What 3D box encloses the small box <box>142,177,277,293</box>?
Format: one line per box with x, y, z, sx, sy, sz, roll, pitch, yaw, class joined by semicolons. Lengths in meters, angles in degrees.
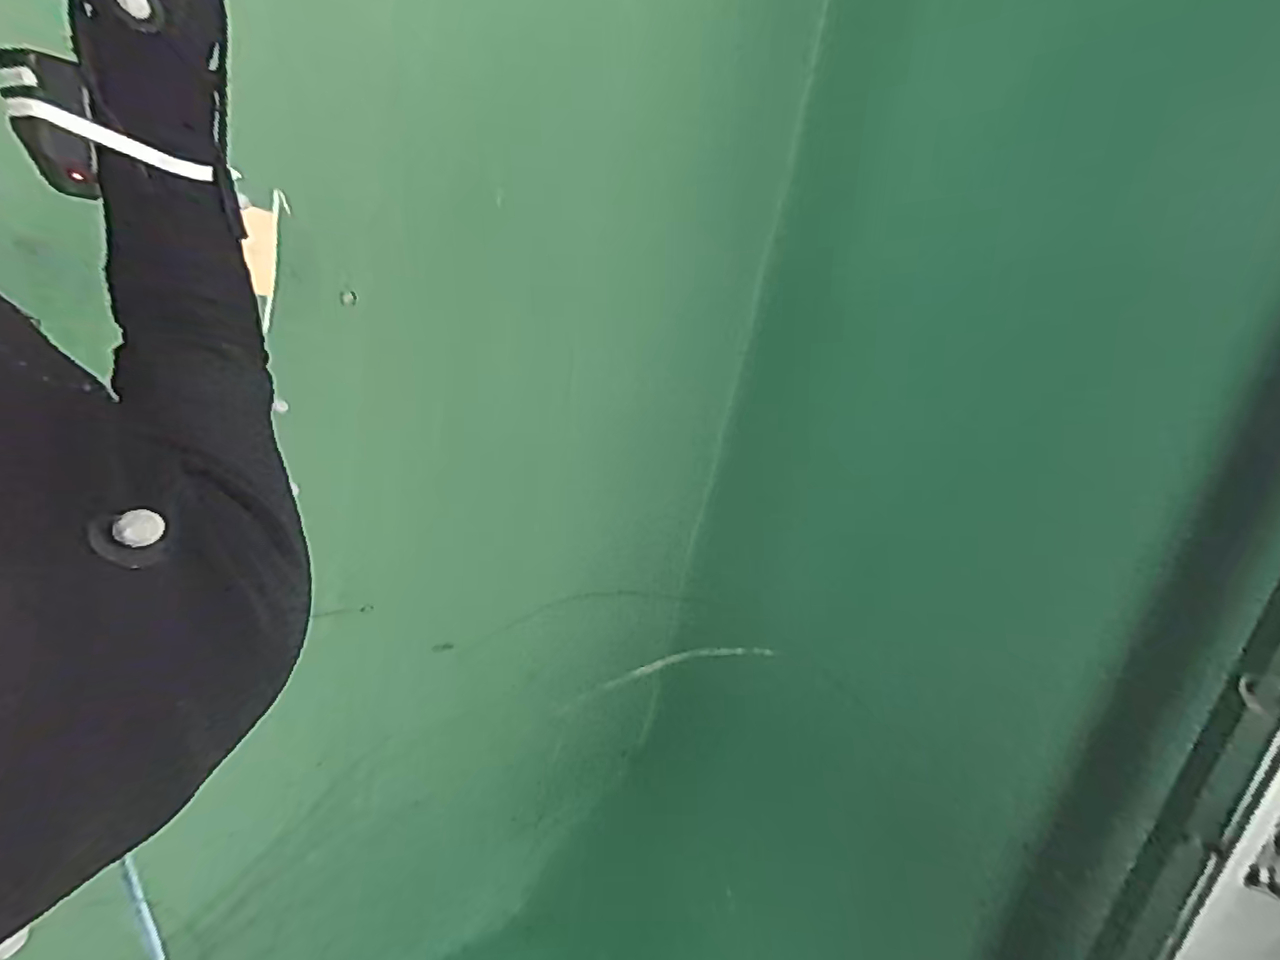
-0.871;-0.487;1.090;0.179;0.176;0.168;-4;110;-55;small box
